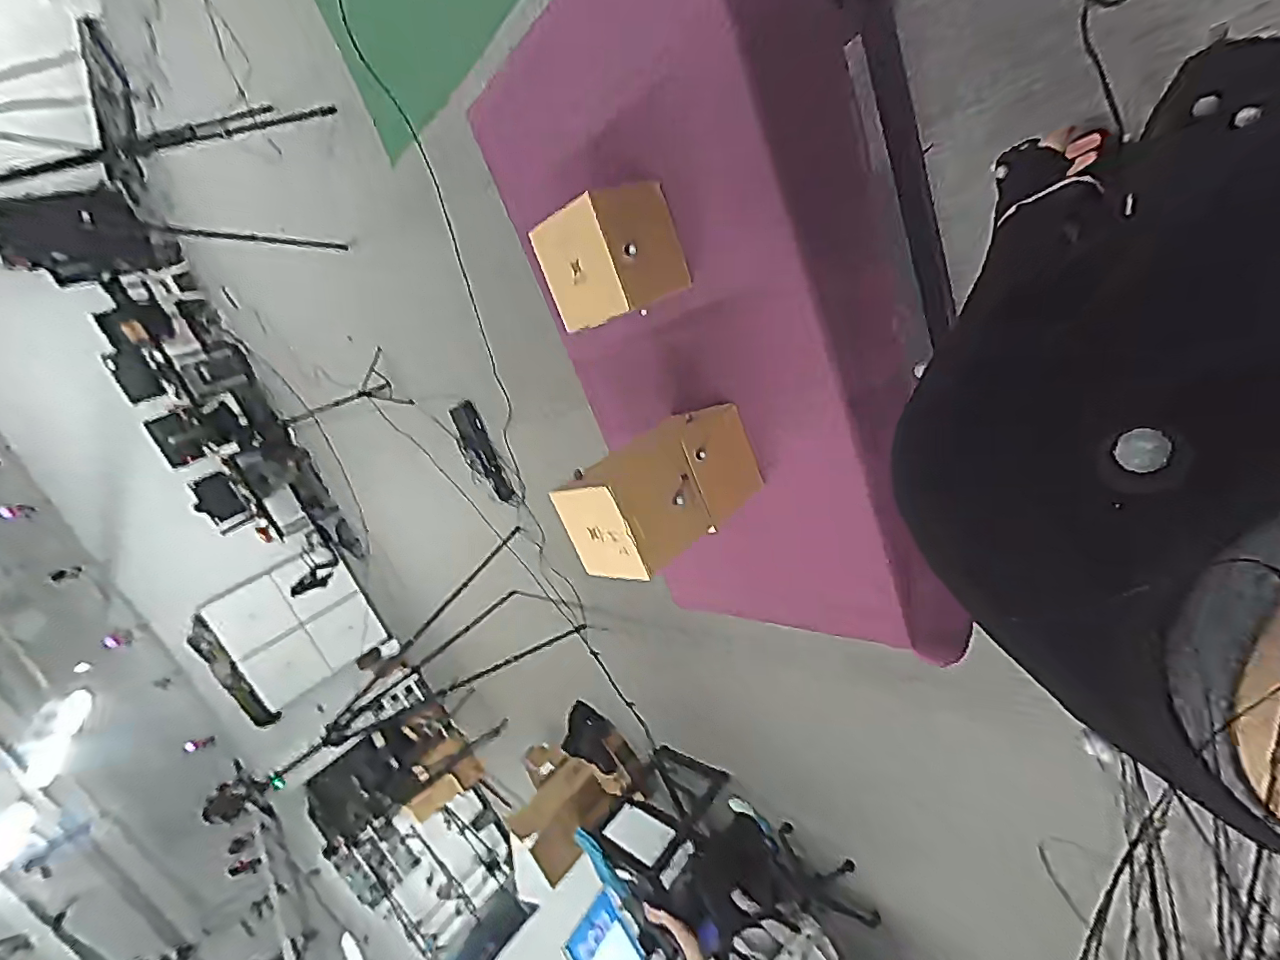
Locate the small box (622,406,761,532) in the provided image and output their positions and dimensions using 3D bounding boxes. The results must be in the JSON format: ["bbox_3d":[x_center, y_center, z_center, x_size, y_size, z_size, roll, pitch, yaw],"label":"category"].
[{"bbox_3d":[0.103,-0.019,1.021,0.168,0.176,0.179,-6,111,50],"label":"small box"}]

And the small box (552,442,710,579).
[{"bbox_3d":[-0.012,0.048,0.923,0.179,0.176,0.168,-7,112,50],"label":"small box"}]

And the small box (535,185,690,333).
[{"bbox_3d":[-0.040,-0.370,0.912,0.168,0.176,0.179,-1,115,47],"label":"small box"}]
